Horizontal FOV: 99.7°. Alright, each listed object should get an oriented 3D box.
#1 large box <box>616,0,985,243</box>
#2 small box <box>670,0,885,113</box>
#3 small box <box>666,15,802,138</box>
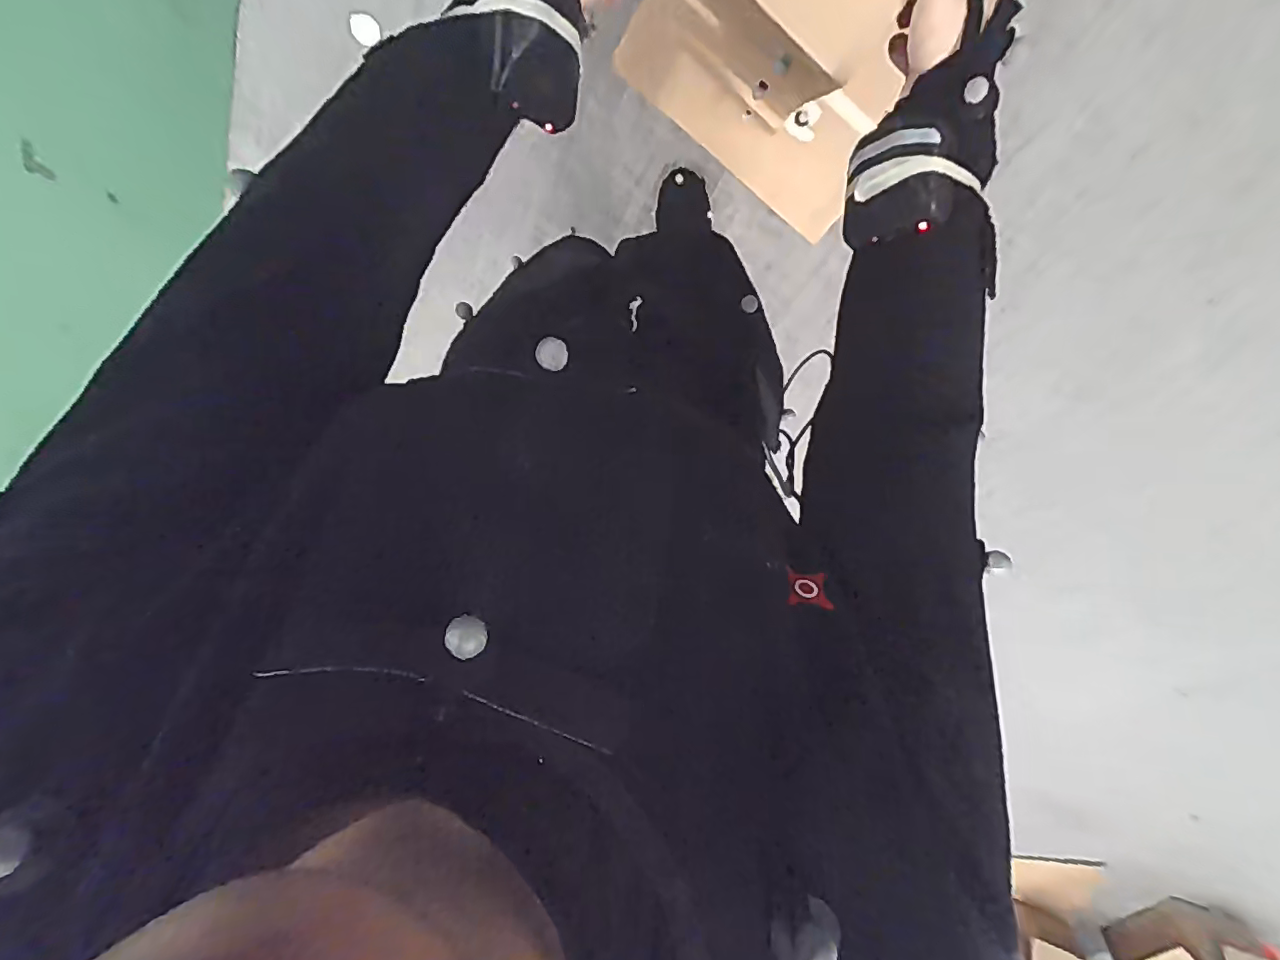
[{"bbox_3d":[0.226,-0.658,0.865,0.408,0.320,0.320,34,122,-13],"label":"large box"},{"bbox_3d":[0.137,-0.482,0.512,0.179,0.176,0.168,35,119,-13],"label":"small box"},{"bbox_3d":[0.155,-0.551,0.657,0.179,0.176,0.168,36,119,-12],"label":"small box"}]
